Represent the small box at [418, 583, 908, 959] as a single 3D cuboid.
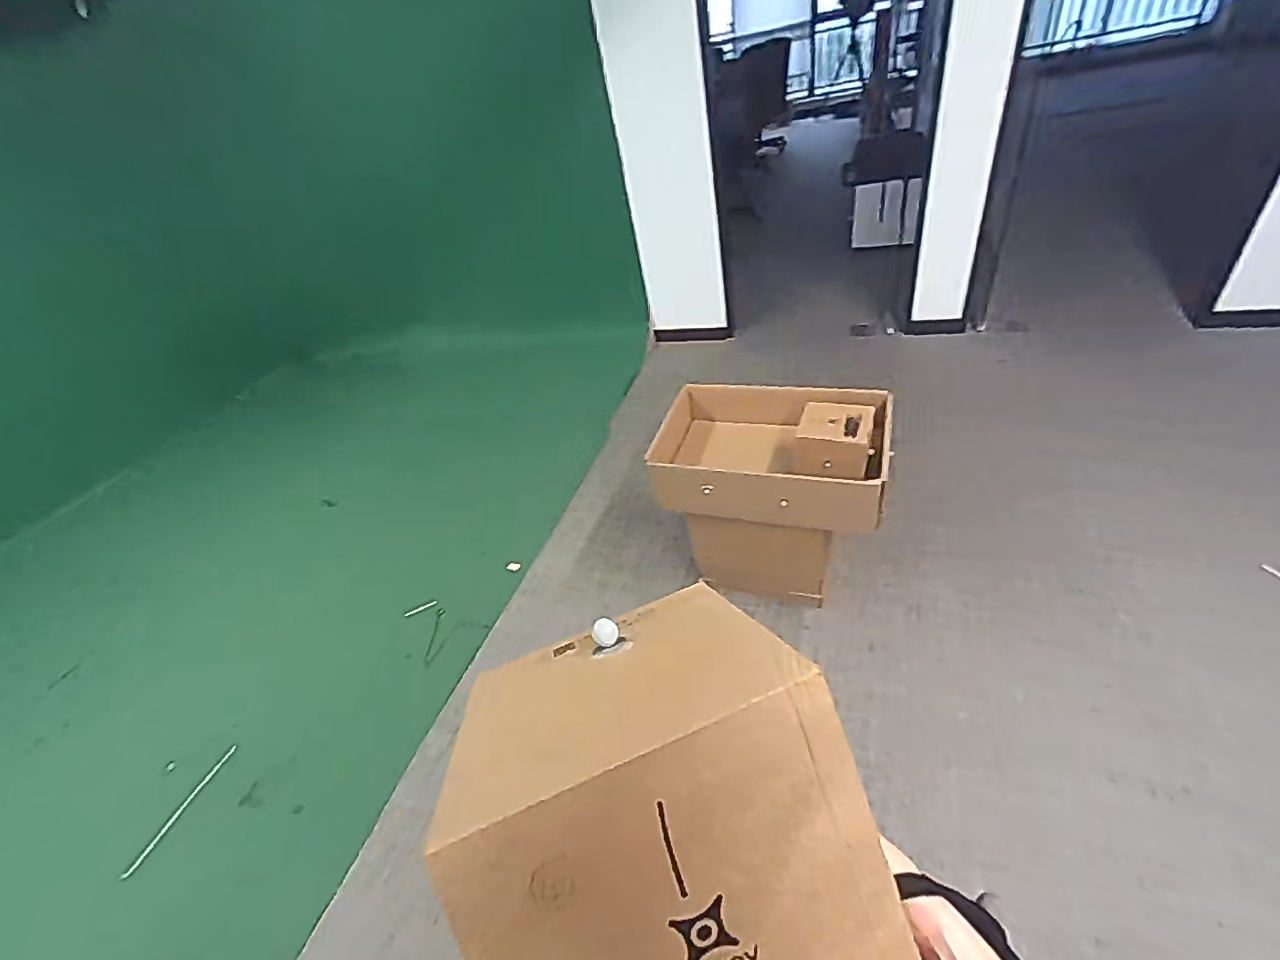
[{"bbox_3d":[0.008,0.178,0.295,0.168,0.179,0.176,-21,4,-9],"label":"small box"}]
